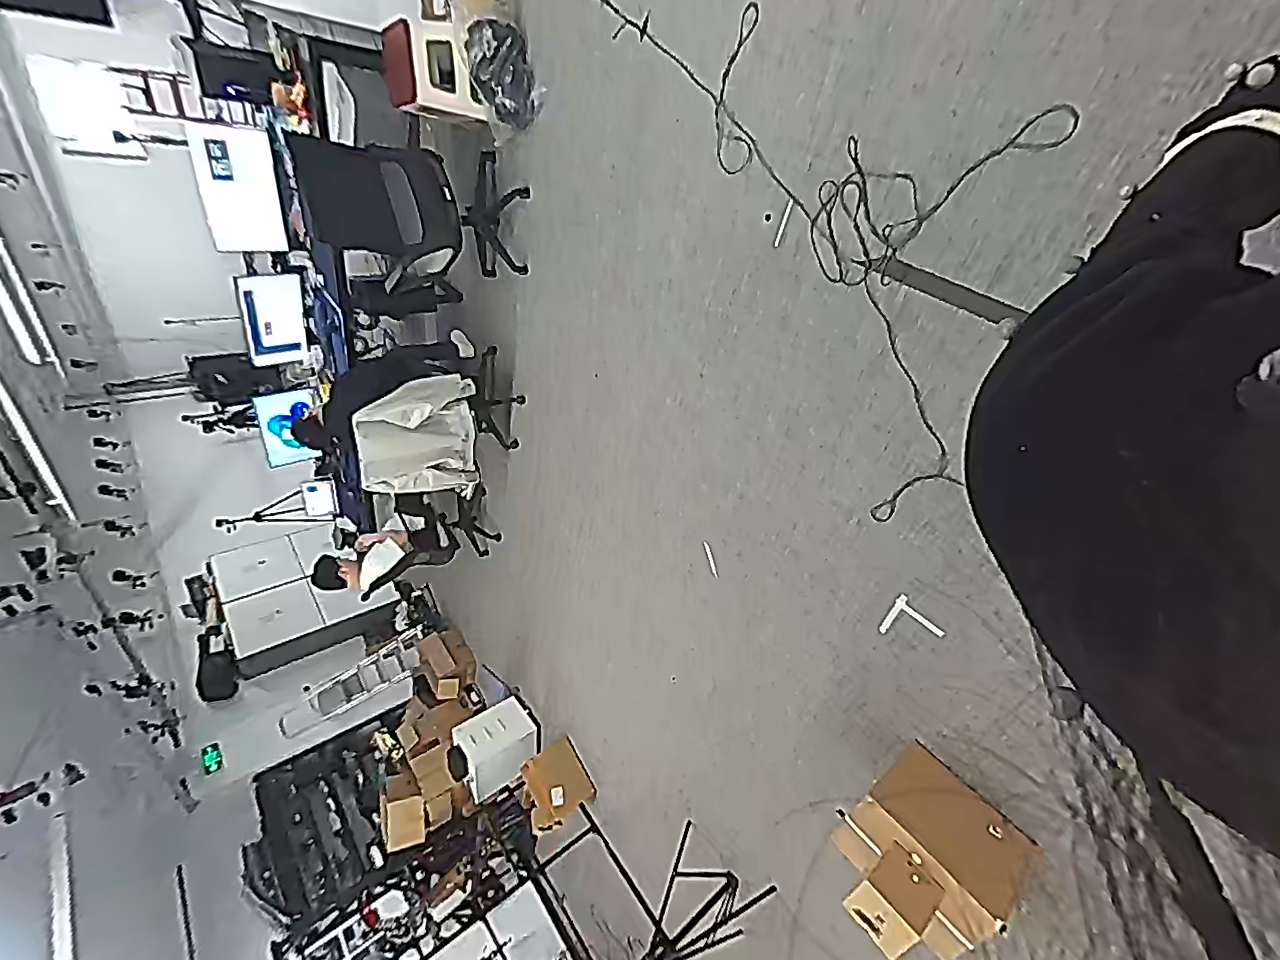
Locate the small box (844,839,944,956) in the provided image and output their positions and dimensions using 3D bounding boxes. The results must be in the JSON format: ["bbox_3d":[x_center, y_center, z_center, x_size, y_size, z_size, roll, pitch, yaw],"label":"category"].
[{"bbox_3d":[0.716,1.167,1.520,0.168,0.176,0.179,40,132,35],"label":"small box"}]
